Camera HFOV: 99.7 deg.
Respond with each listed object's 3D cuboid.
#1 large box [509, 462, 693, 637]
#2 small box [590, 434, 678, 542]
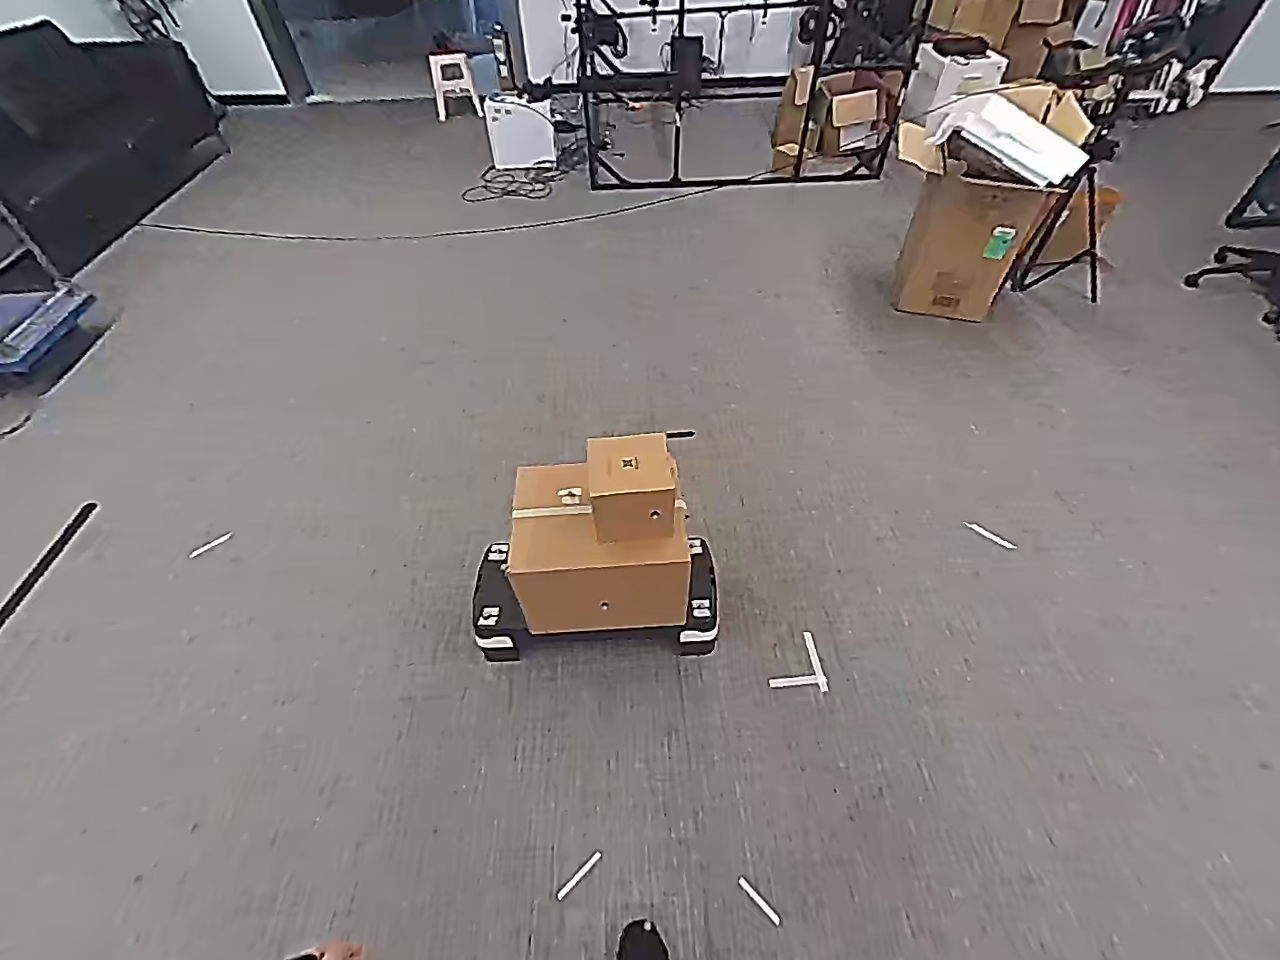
[{"bbox_3d":[-0.089,0.180,1.374,0.408,0.320,0.320,-4,48,-1],"label":"large box"},{"bbox_3d":[-0.015,0.020,1.186,0.179,0.176,0.168,-5,49,-2],"label":"small box"}]
